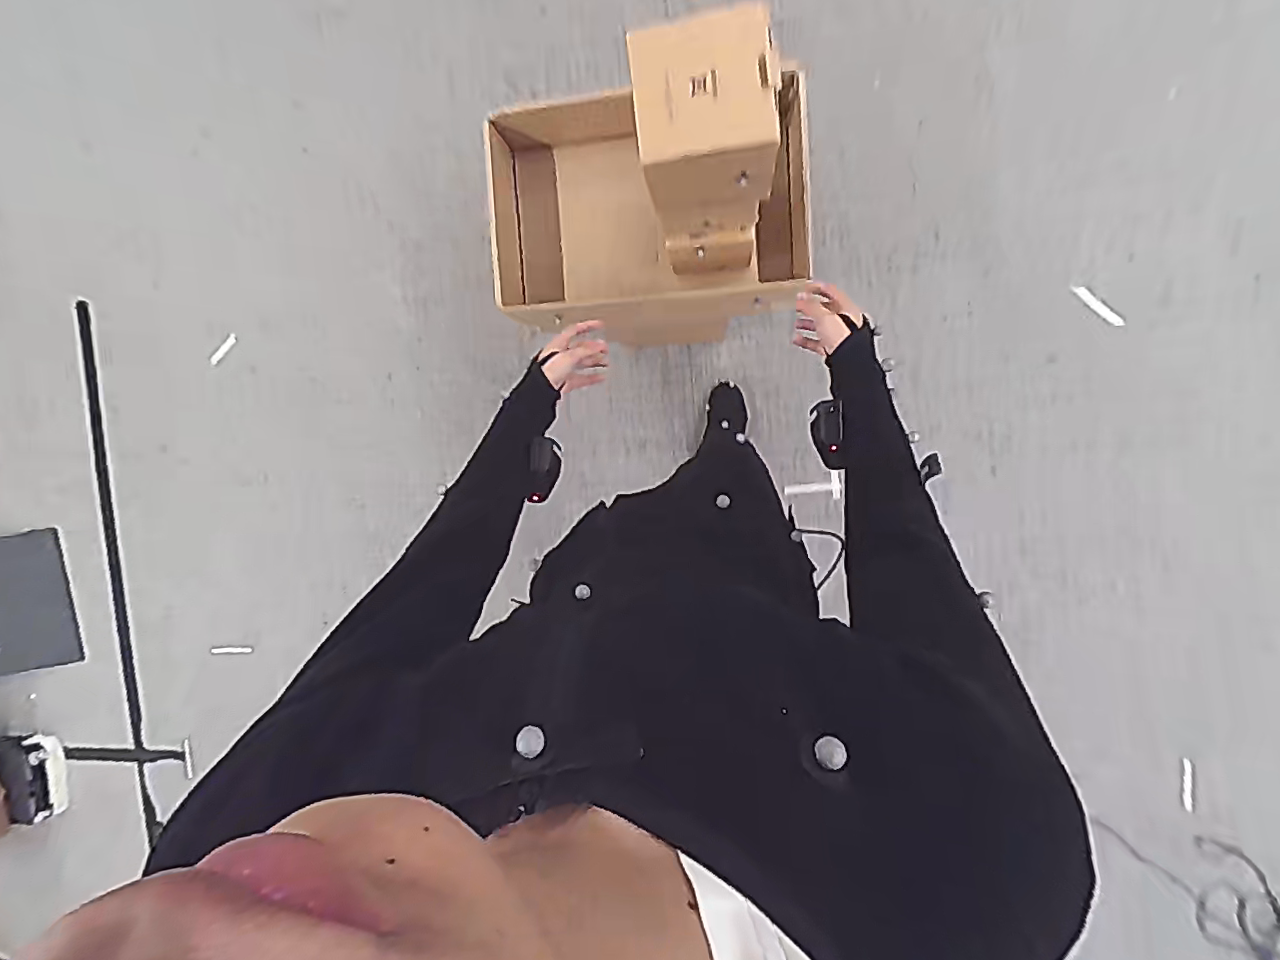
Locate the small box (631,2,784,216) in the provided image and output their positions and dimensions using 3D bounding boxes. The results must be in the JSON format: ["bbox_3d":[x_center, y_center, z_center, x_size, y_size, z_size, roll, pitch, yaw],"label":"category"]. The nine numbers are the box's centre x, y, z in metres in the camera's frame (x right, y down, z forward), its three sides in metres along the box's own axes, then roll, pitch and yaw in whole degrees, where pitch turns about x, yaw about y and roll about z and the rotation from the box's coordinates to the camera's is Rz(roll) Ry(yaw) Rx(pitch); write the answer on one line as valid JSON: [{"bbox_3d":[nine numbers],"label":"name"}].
[{"bbox_3d":[0.091,-0.487,0.739,0.179,0.176,0.168,-6,92,8],"label":"small box"}]
